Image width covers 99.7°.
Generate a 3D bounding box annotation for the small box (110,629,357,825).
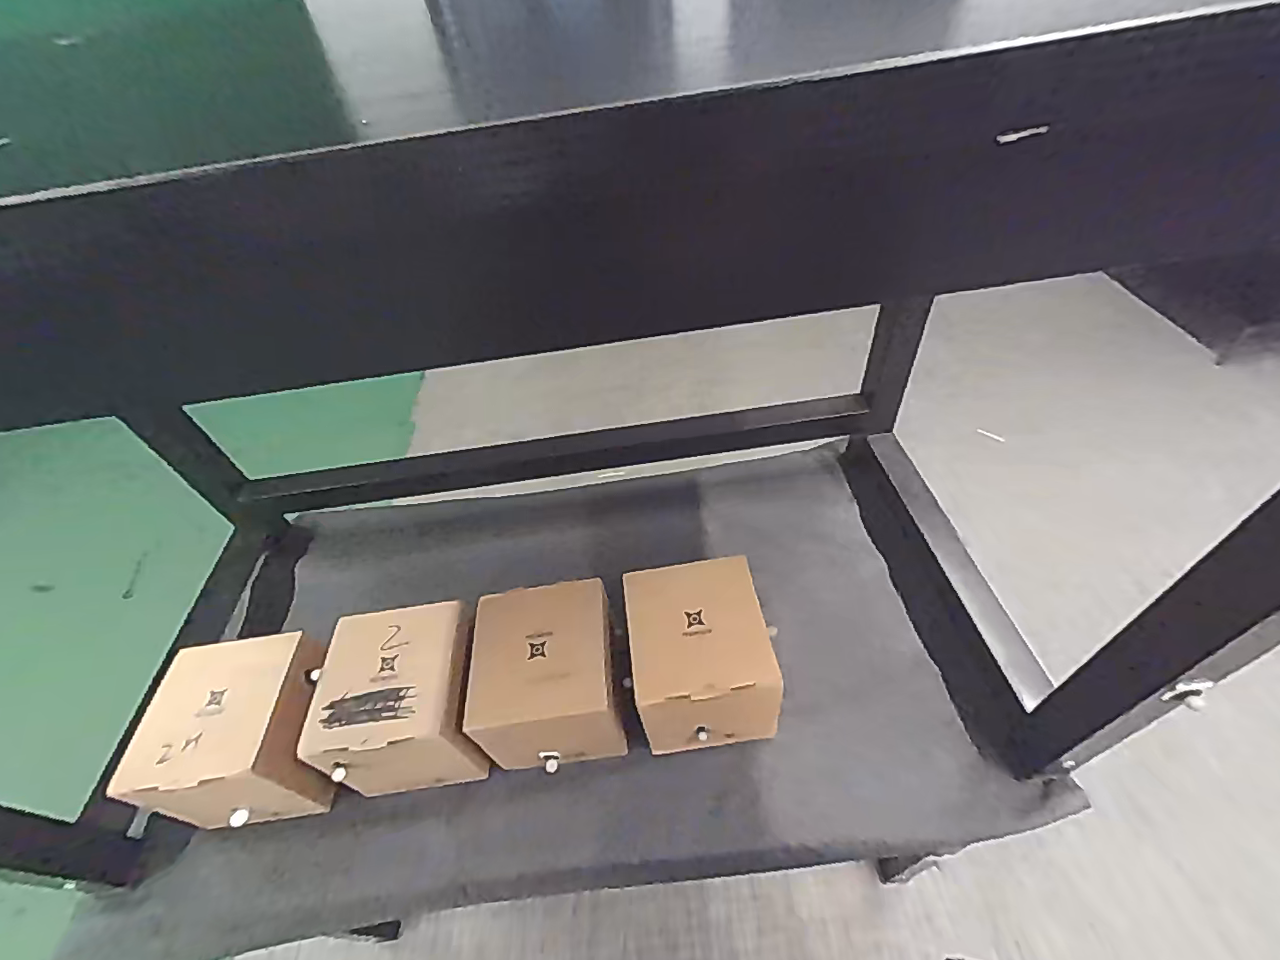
[{"bbox_3d":[-0.500,0.322,0.705,0.168,0.176,0.179,-9,46,0],"label":"small box"}]
